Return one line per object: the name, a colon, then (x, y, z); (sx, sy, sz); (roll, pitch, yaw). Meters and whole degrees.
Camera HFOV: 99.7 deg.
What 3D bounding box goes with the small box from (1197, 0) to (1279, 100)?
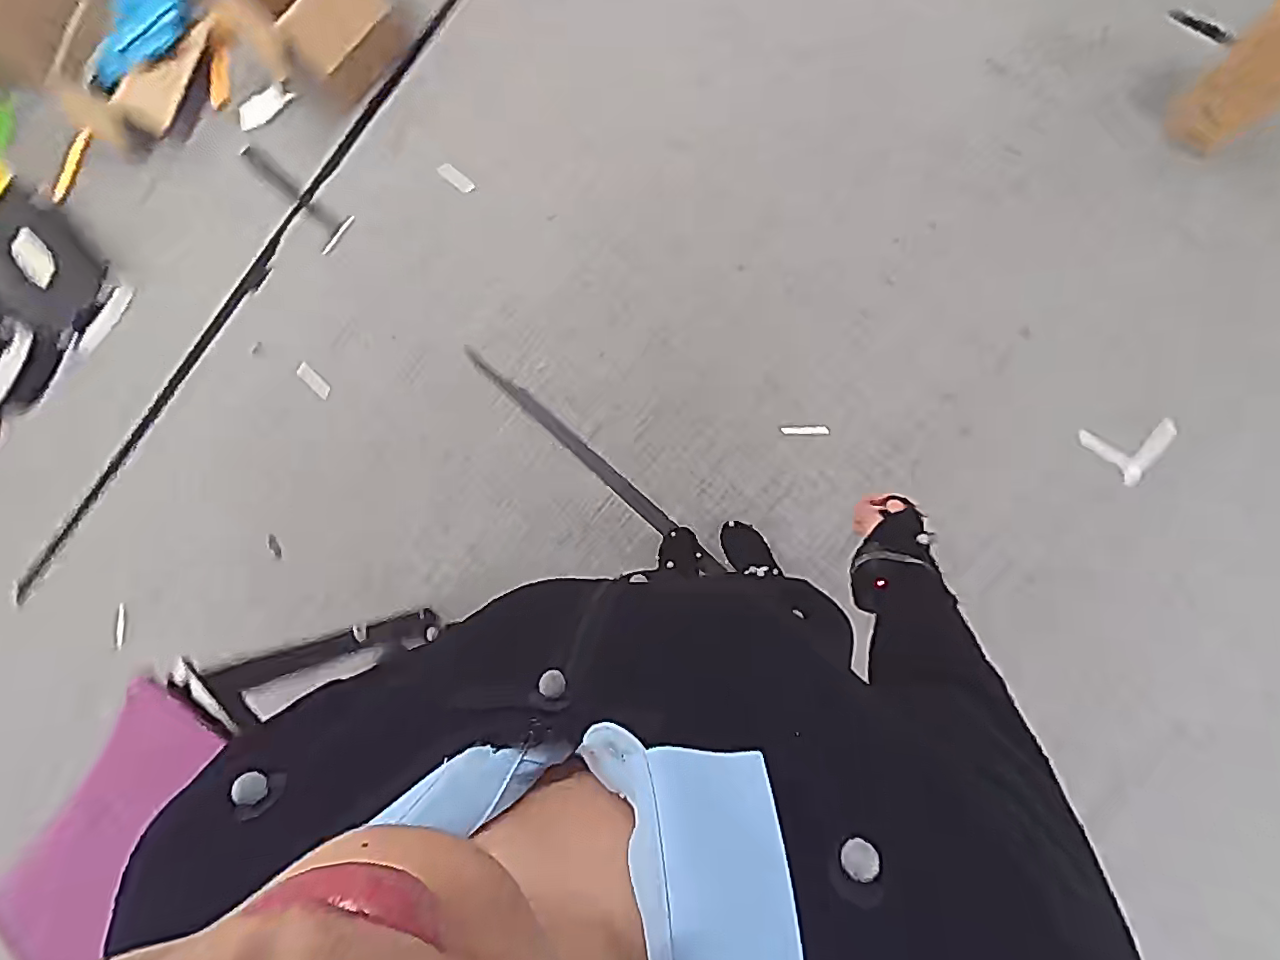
small box: (1.329, -0.926, 1.101); (0.179, 0.176, 0.168); (34, 92, 13)
